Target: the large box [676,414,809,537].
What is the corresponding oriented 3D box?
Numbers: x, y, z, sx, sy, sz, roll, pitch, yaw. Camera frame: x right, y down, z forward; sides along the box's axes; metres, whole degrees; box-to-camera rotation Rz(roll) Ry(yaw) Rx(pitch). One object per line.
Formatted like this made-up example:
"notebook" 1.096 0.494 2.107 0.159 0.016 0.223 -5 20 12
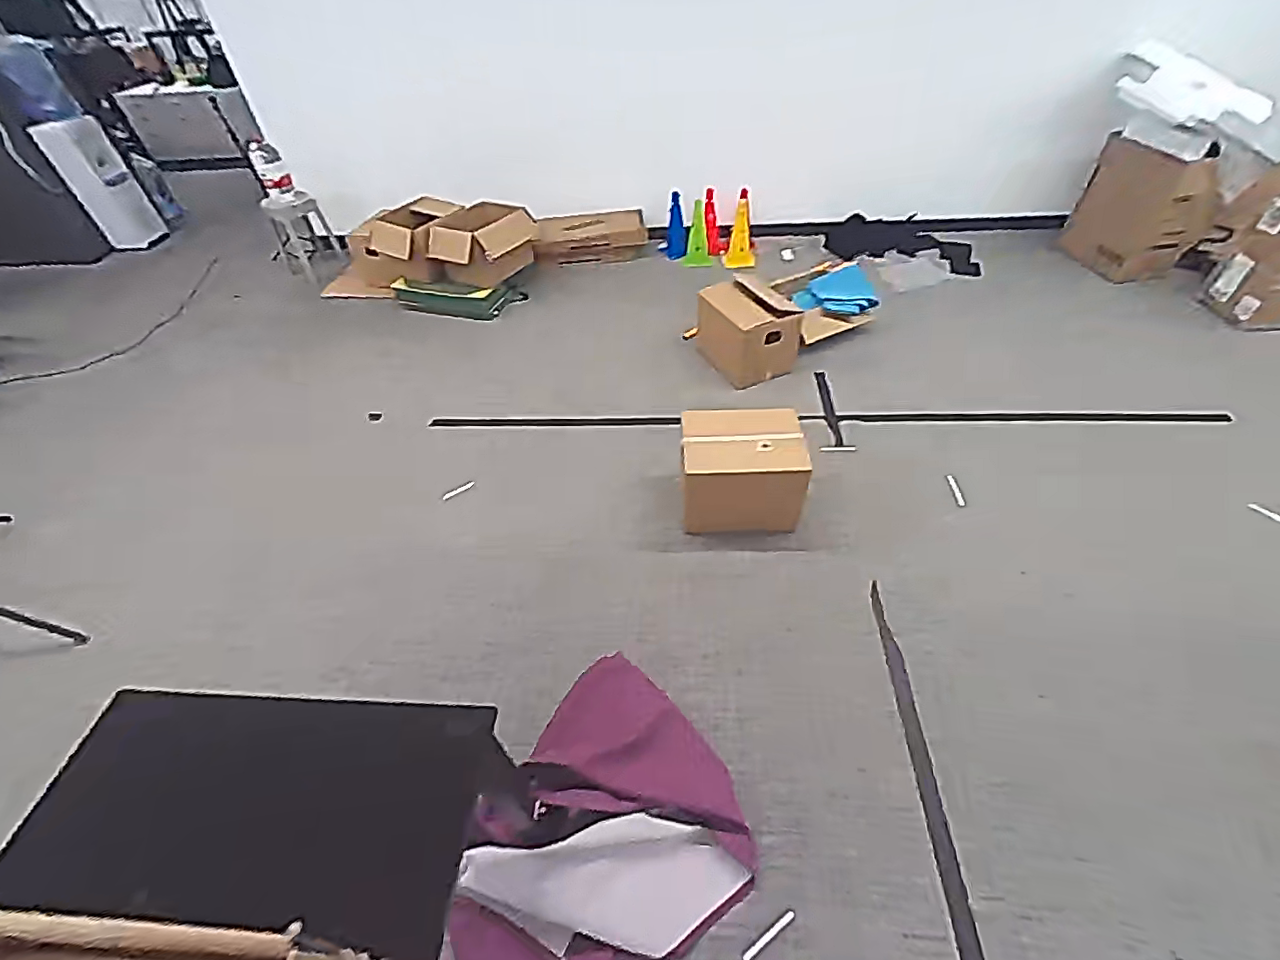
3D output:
"large box" 0.340 -0.014 1.917 0.408 0.320 0.320 -1 46 1
